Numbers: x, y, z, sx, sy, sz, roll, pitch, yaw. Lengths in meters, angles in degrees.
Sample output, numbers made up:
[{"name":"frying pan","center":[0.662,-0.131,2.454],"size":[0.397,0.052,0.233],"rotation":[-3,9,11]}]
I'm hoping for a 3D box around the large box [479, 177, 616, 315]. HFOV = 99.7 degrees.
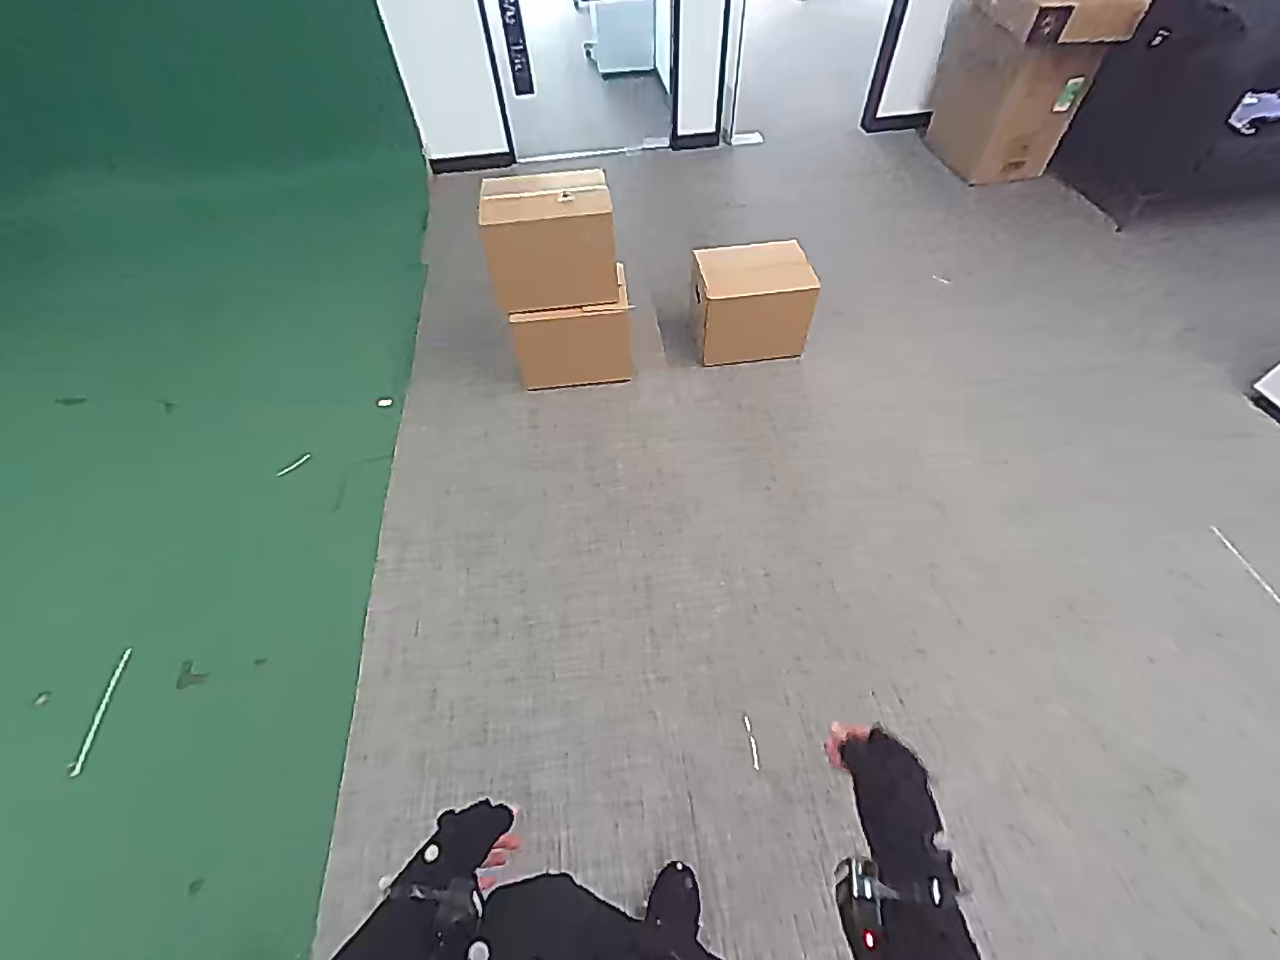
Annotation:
[{"name":"large box","center":[-0.298,-0.783,1.812],"size":[0.408,0.320,0.320],"rotation":[-6,51,-4]}]
